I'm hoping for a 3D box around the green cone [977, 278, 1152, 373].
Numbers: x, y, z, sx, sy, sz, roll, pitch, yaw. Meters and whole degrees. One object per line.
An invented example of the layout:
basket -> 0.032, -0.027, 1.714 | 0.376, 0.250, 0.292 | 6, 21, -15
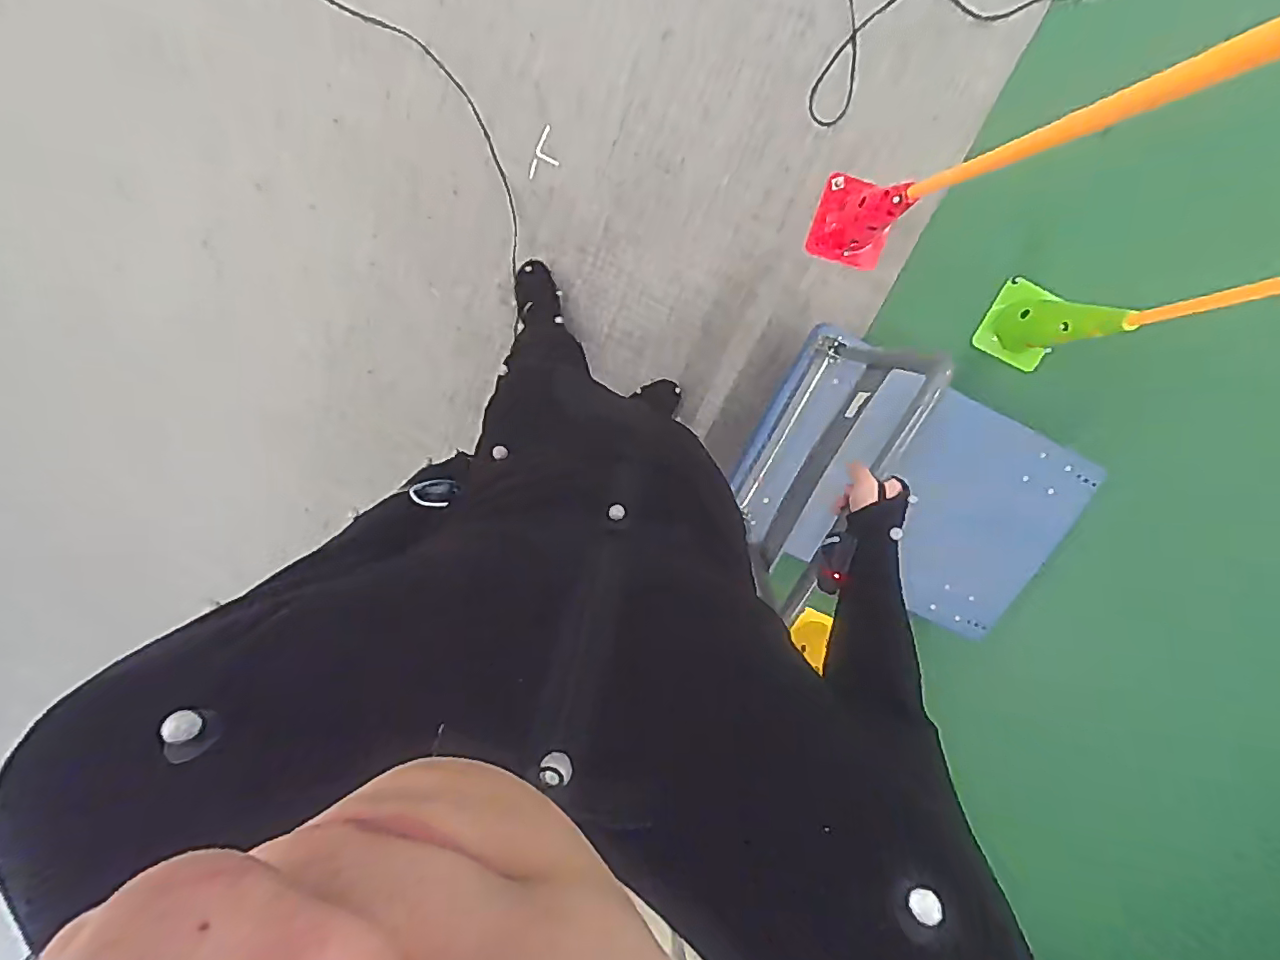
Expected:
green cone -> 1.030, -0.364, 1.284 | 0.202, 0.368, 0.200 | 24, 104, -6
